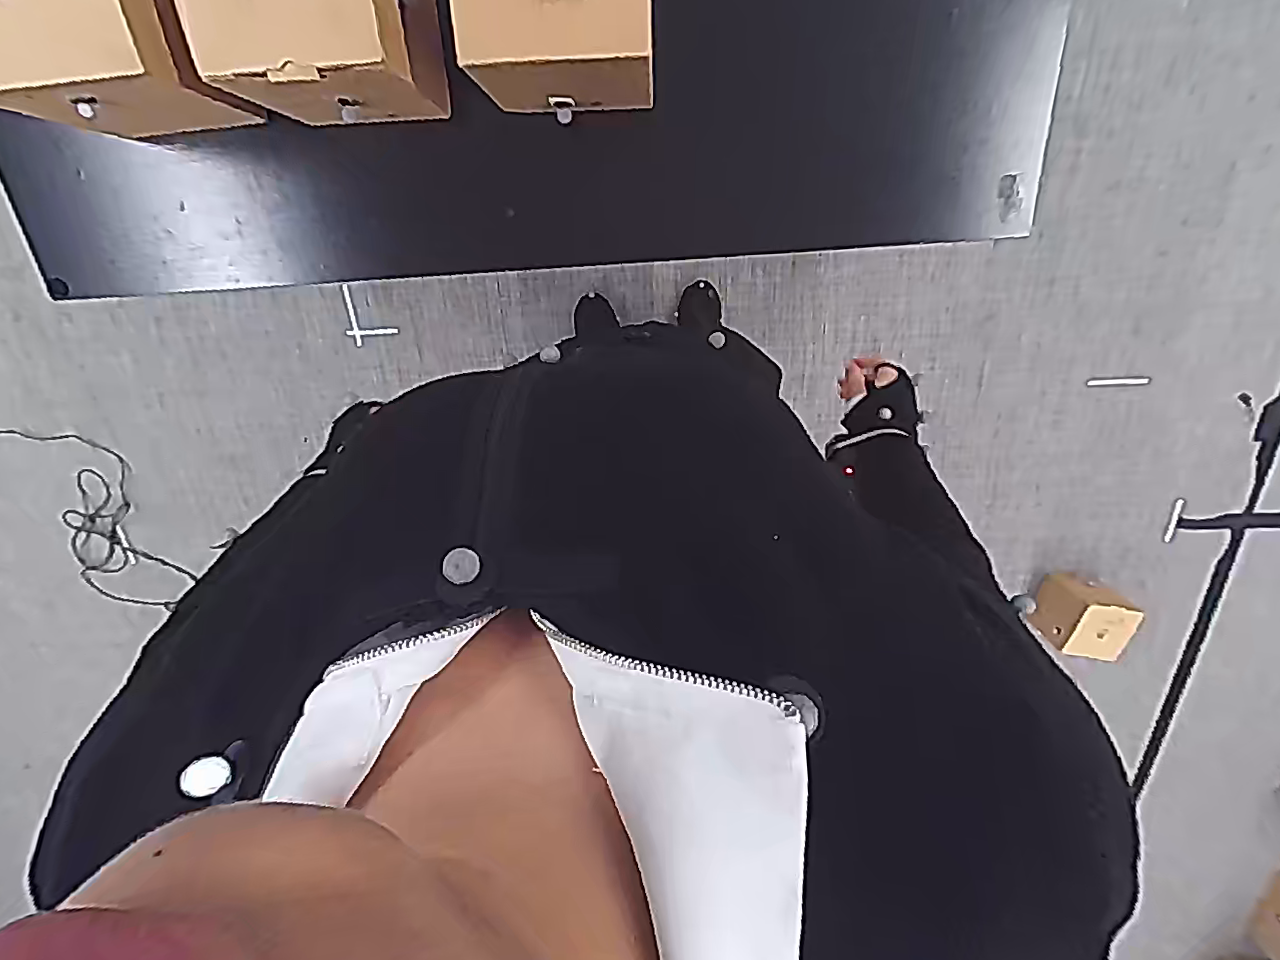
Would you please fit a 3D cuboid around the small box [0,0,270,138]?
[{"bbox_3d":[-0.511,-0.446,0.518,0.179,0.176,0.168,-5,111,2],"label":"small box"}]

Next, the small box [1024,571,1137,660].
[{"bbox_3d":[1.288,0.398,1.600,0.168,0.176,0.179,10,112,-3],"label":"small box"}]

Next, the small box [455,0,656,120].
[{"bbox_3d":[-0.070,-0.463,0.506,0.168,0.176,0.179,-1,112,3],"label":"small box"}]
